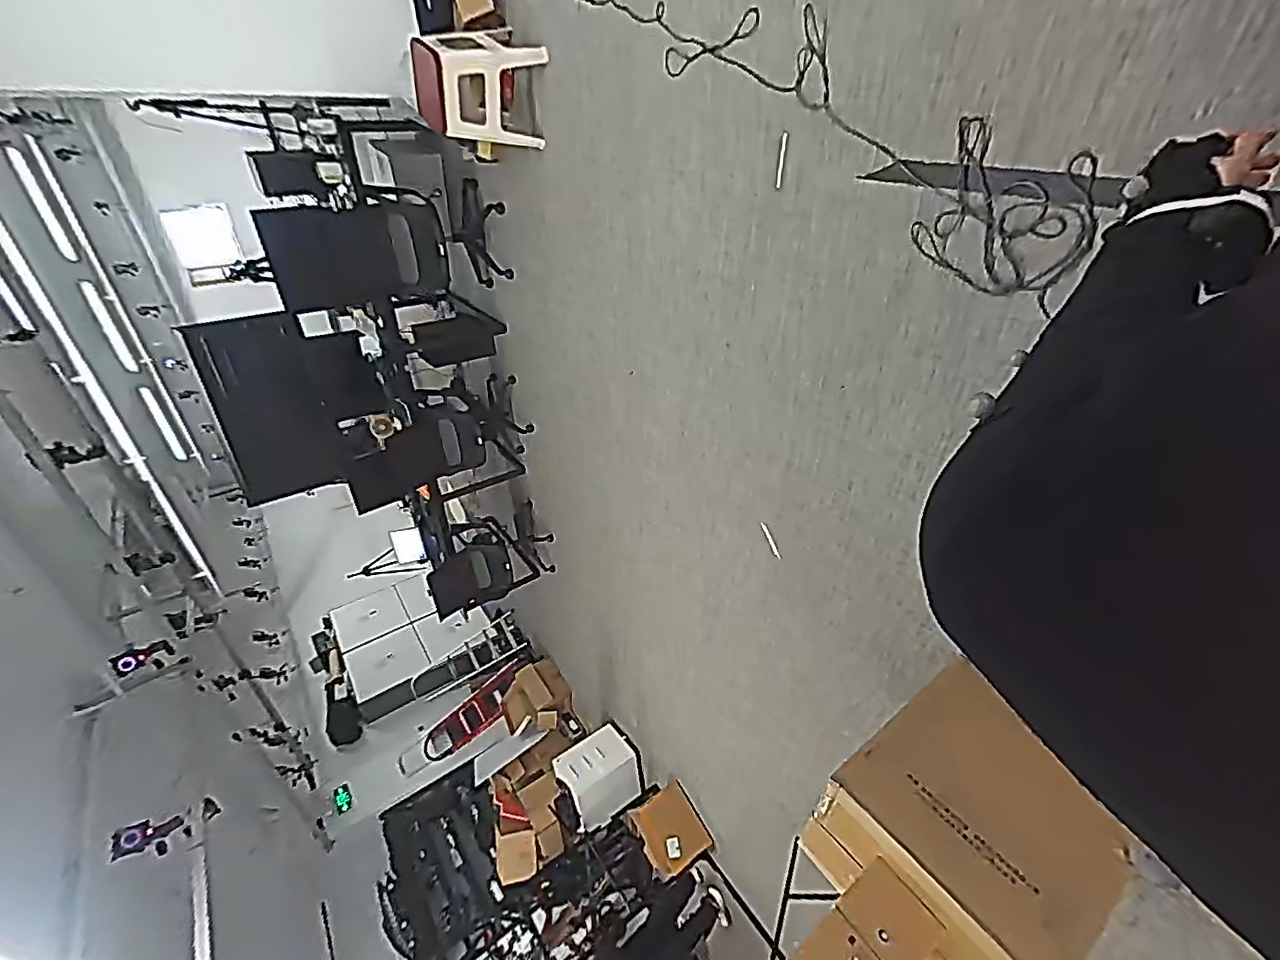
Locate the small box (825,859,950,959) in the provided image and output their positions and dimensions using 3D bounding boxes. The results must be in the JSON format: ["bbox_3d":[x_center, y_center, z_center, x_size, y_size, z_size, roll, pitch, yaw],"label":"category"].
[{"bbox_3d":[0.555,1.012,1.217,0.179,0.176,0.168,41,141,41],"label":"small box"}]
